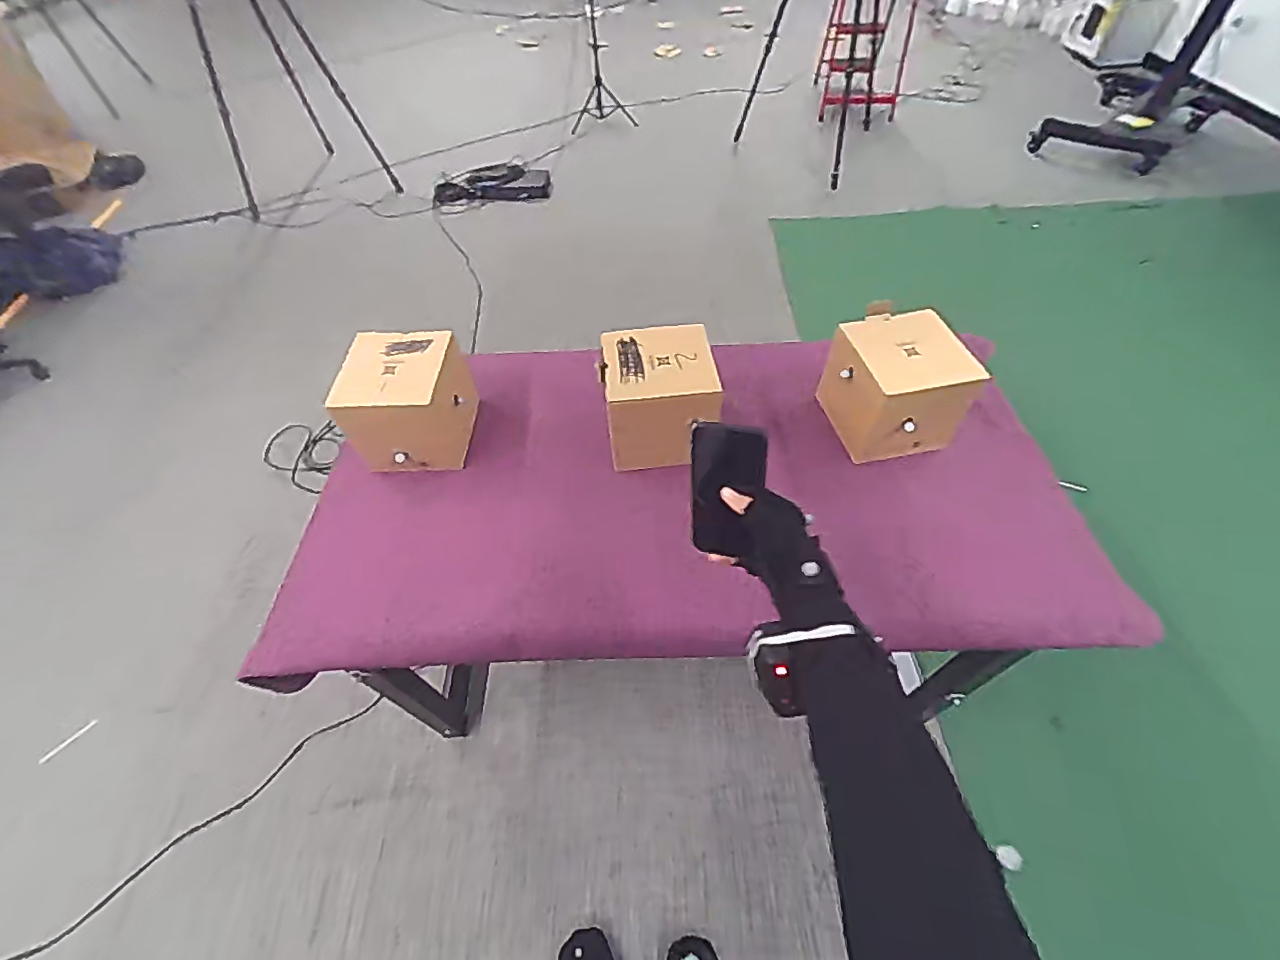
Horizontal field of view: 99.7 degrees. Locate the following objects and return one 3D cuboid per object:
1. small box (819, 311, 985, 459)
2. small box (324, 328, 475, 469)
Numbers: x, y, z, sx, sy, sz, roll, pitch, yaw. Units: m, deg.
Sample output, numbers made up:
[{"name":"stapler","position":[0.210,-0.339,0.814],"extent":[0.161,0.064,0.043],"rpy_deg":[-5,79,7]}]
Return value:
[{"name":"small box","position":[0.421,-0.150,0.903],"extent":[0.168,0.176,0.179],"rpy_deg":[-10,53,-4]},{"name":"small box","position":[-0.393,-0.138,0.925],"extent":[0.168,0.176,0.179],"rpy_deg":[-1,55,2]}]
